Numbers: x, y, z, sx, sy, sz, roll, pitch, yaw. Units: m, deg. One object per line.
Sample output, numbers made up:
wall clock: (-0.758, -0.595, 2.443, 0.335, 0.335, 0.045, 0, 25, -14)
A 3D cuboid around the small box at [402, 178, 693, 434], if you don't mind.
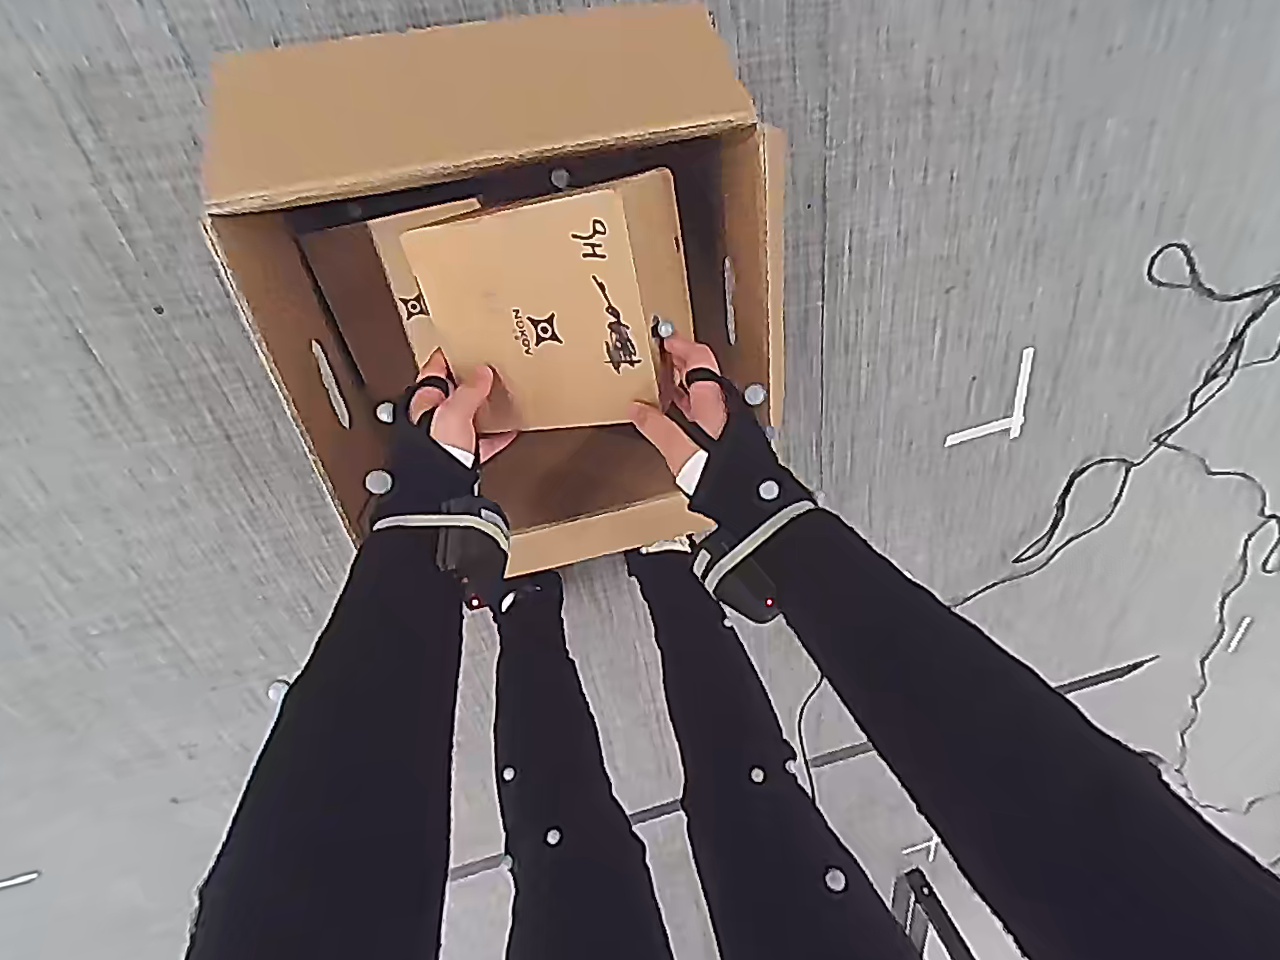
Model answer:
small box: (-0.061, -0.153, 0.477, 0.179, 0.176, 0.168, -1, 124, 18)
